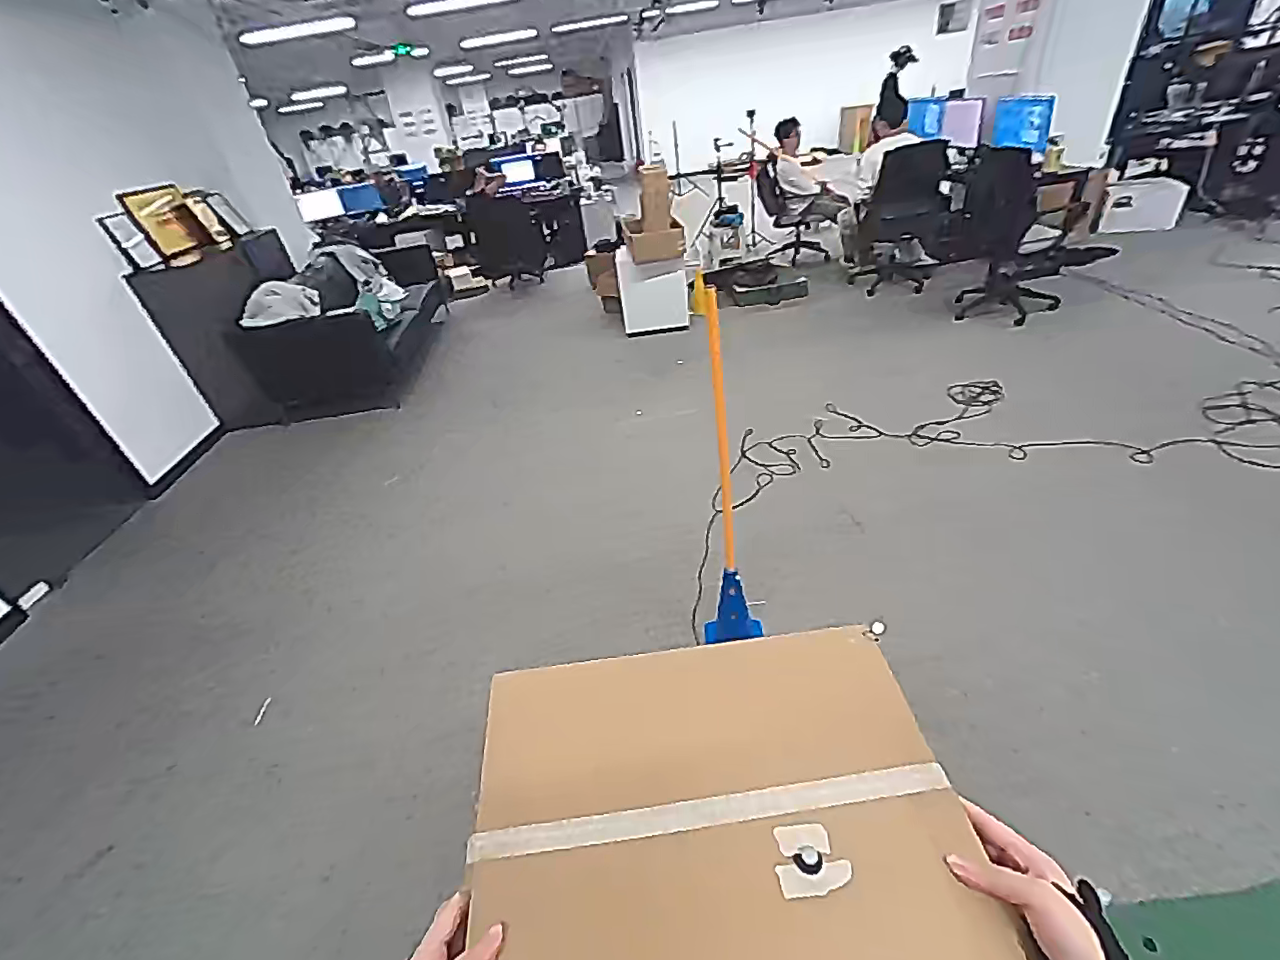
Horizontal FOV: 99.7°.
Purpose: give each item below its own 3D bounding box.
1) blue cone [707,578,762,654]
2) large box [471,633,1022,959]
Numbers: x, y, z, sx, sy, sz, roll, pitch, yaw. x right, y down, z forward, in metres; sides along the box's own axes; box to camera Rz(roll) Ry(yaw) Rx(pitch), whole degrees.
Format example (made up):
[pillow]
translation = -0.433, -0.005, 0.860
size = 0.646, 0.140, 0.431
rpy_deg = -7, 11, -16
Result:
[blue cone]
translation = 0.302, 0.455, 1.746
size = 0.193, 0.380, 0.192
rpy_deg = -4, 35, 7
[large box]
translation = 0.066, 0.402, 0.561
size = 0.408, 0.320, 0.320
rpy_deg = -7, 41, -4
